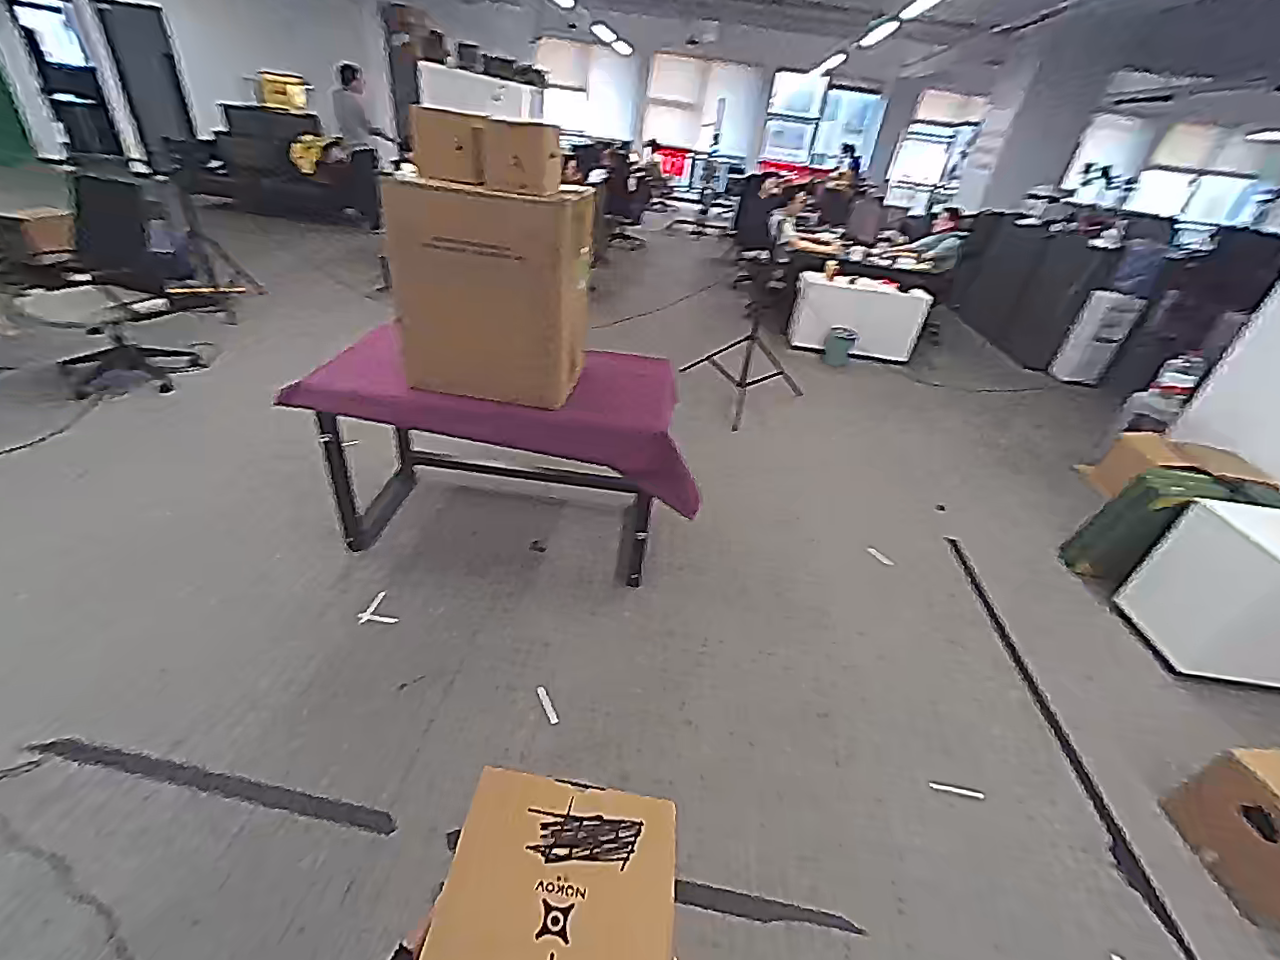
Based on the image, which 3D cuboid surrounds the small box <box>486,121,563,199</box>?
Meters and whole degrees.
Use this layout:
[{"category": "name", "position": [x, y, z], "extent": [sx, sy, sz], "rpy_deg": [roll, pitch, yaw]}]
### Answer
[{"category": "small box", "position": [-0.312, -0.885, 1.495], "extent": [0.168, 0.176, 0.179], "rpy_deg": [9, 33, 3]}]

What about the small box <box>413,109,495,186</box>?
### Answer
[{"category": "small box", "position": [-0.522, -0.948, 1.547], "extent": [0.179, 0.176, 0.168], "rpy_deg": [9, 33, 2]}]

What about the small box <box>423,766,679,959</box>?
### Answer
[{"category": "small box", "position": [-0.069, 0.361, 0.413], "extent": [0.168, 0.176, 0.179], "rpy_deg": [11, 30, -3]}]
